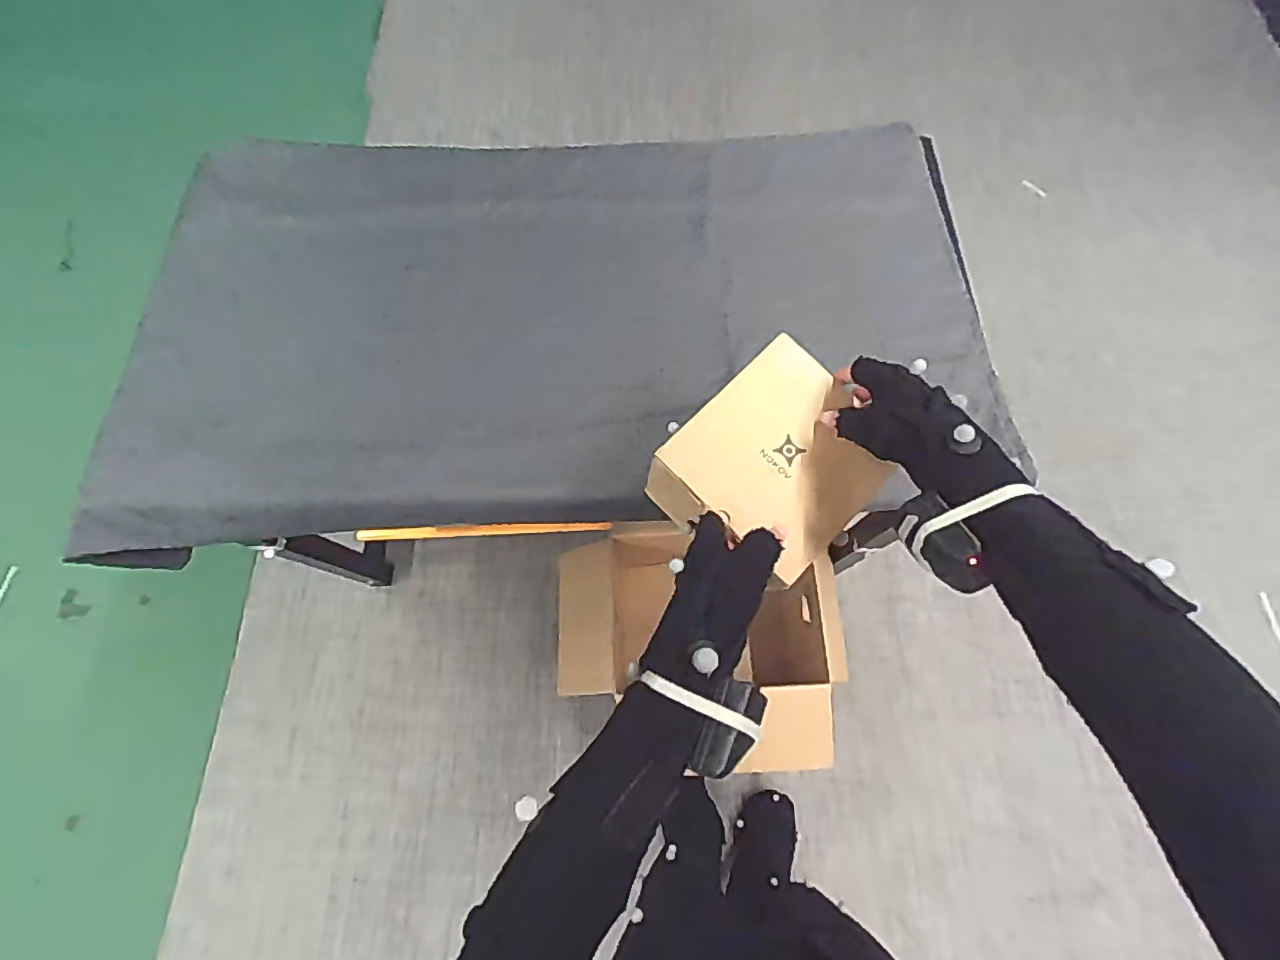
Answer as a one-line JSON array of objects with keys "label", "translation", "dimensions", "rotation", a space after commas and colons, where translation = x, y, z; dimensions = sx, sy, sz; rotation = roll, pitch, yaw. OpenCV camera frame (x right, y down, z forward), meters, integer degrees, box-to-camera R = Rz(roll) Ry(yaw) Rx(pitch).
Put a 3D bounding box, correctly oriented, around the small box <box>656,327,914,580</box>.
[{"label": "small box", "translation": [0.130, -0.016, 0.562], "dimensions": [0.168, 0.176, 0.179], "rotation": [44, 82, 6]}]
